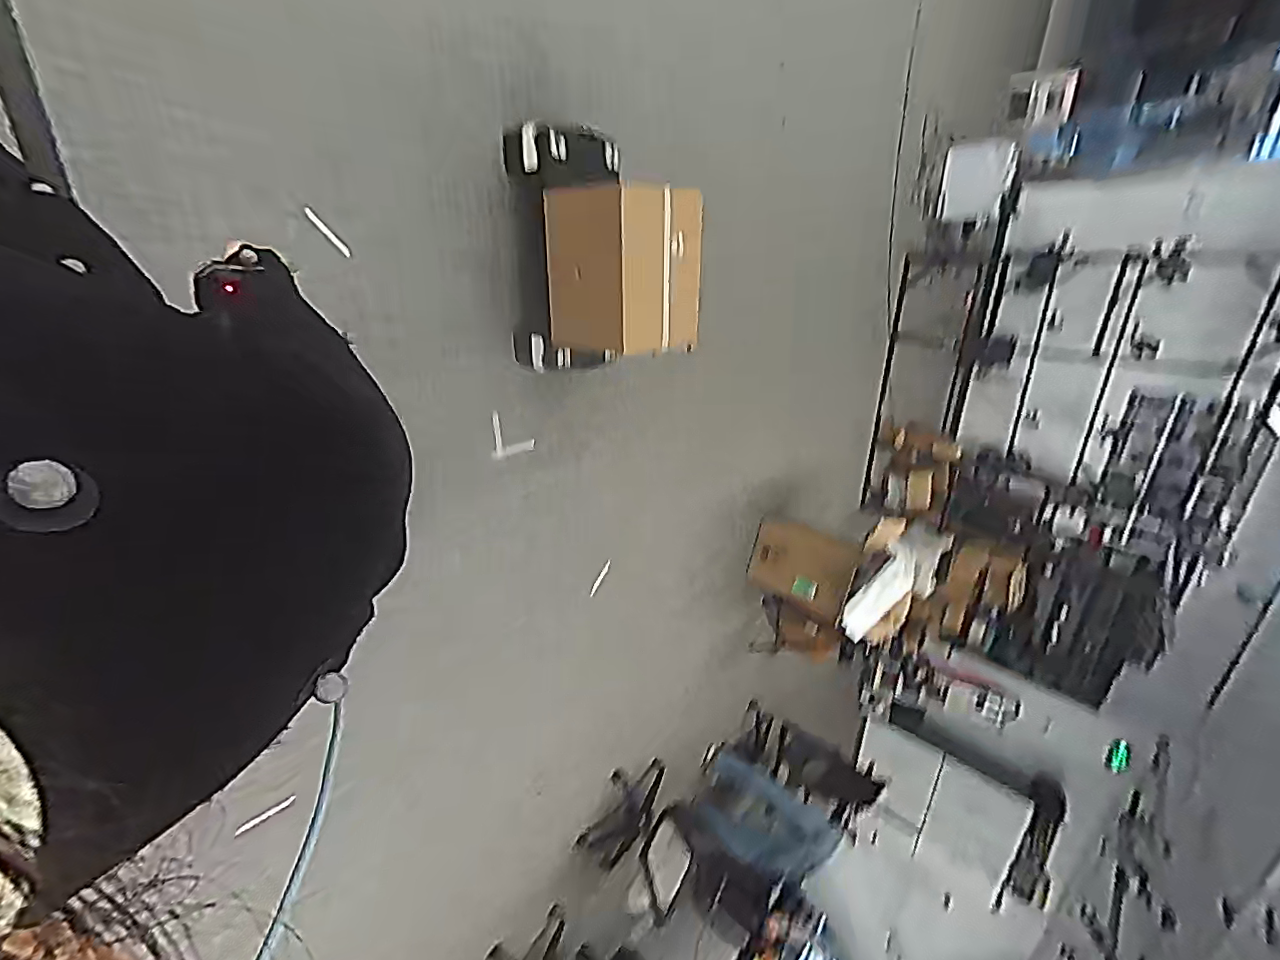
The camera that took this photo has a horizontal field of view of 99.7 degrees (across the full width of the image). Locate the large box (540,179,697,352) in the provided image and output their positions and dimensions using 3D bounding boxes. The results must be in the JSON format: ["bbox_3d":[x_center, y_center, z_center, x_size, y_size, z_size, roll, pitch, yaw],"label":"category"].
[{"bbox_3d":[-0.053,-0.596,1.521,0.320,0.320,0.408,-23,121,-42],"label":"large box"}]
